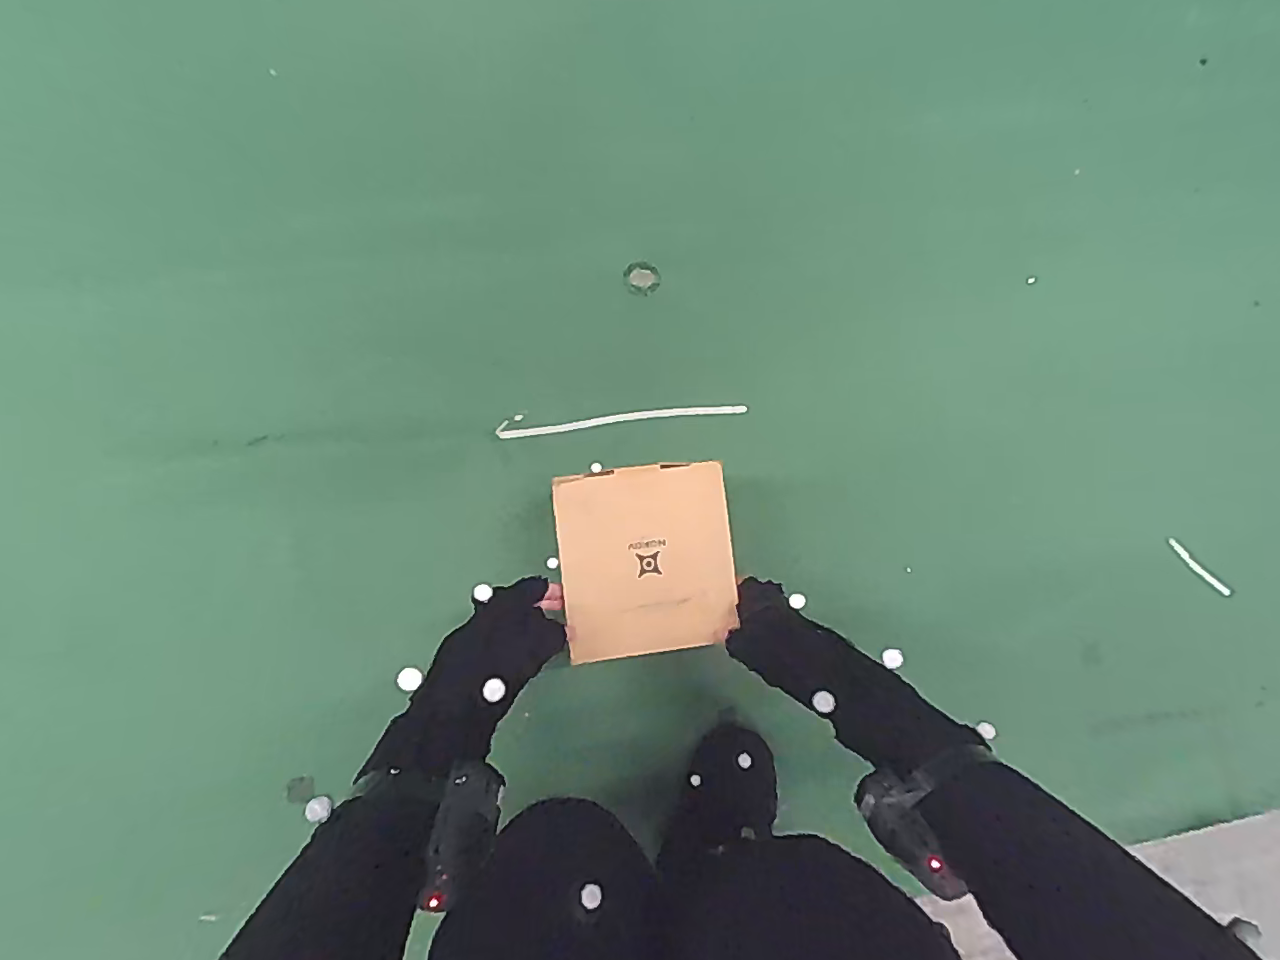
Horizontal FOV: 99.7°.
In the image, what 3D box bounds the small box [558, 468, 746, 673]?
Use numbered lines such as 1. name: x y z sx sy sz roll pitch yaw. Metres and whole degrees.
1. small box: 0.004 0.086 0.569 0.168 0.176 0.179 -4 87 -4
